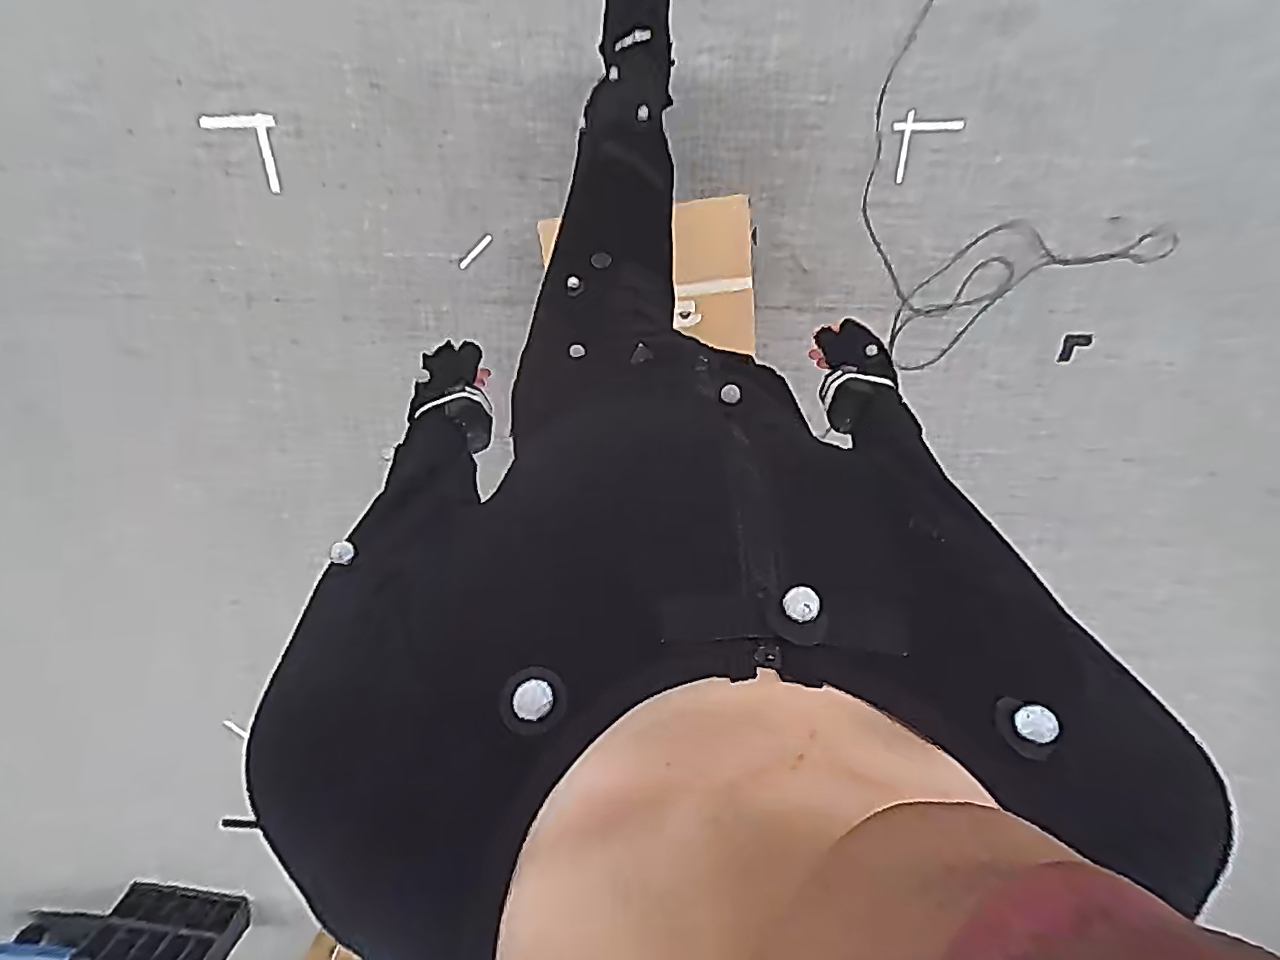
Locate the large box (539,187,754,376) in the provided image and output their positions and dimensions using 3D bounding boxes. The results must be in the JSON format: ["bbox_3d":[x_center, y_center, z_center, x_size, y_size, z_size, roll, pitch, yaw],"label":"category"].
[{"bbox_3d":[0.021,-0.437,1.211,0.408,0.320,0.320,-6,112,4],"label":"large box"}]
